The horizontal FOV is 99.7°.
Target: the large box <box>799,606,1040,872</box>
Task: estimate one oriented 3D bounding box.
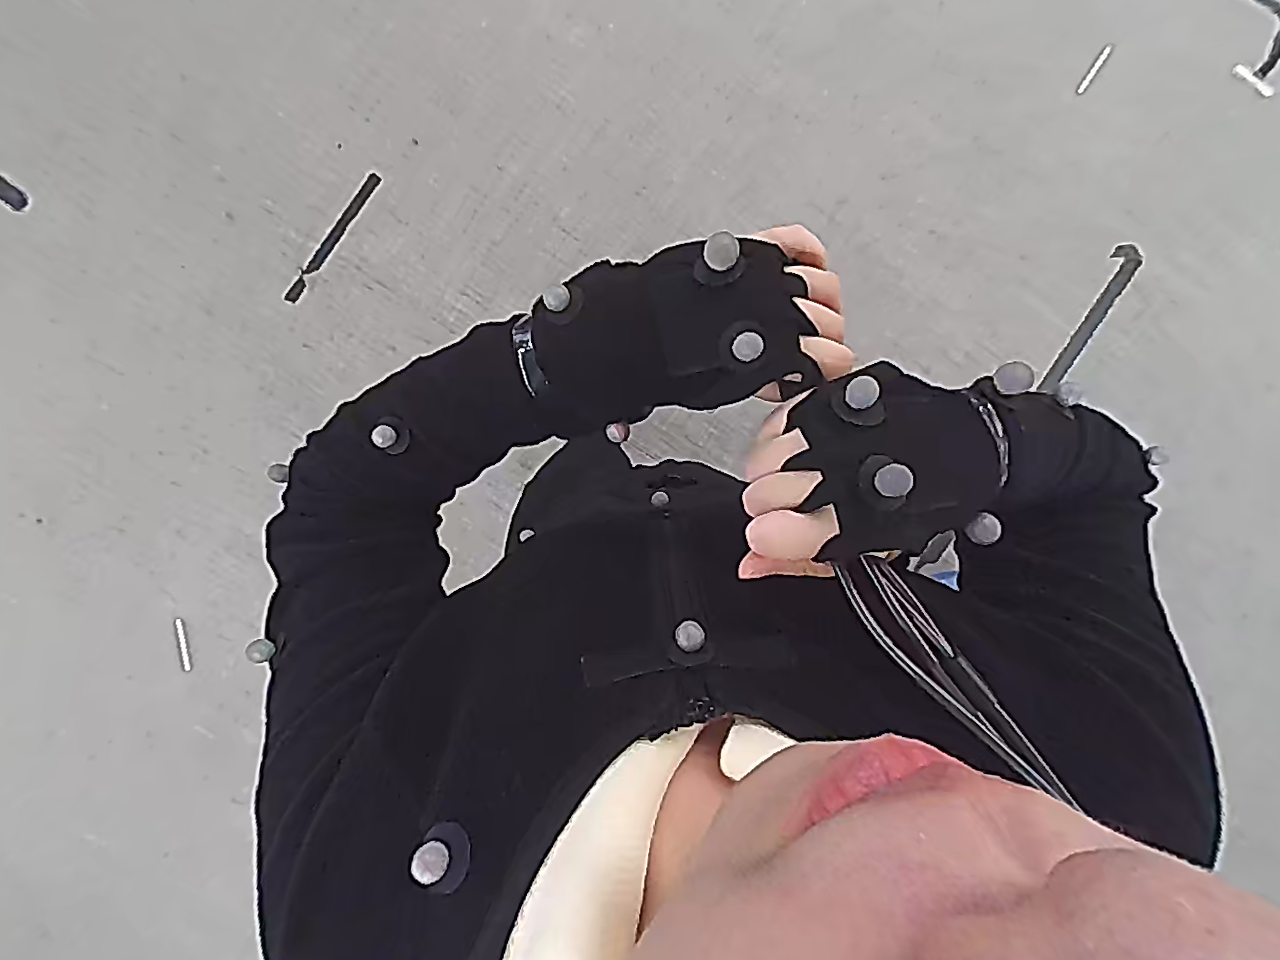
[{"bbox_3d":[0.618,0.563,1.249,0.320,0.320,0.408,-18,96,-3],"label":"large box"}]
